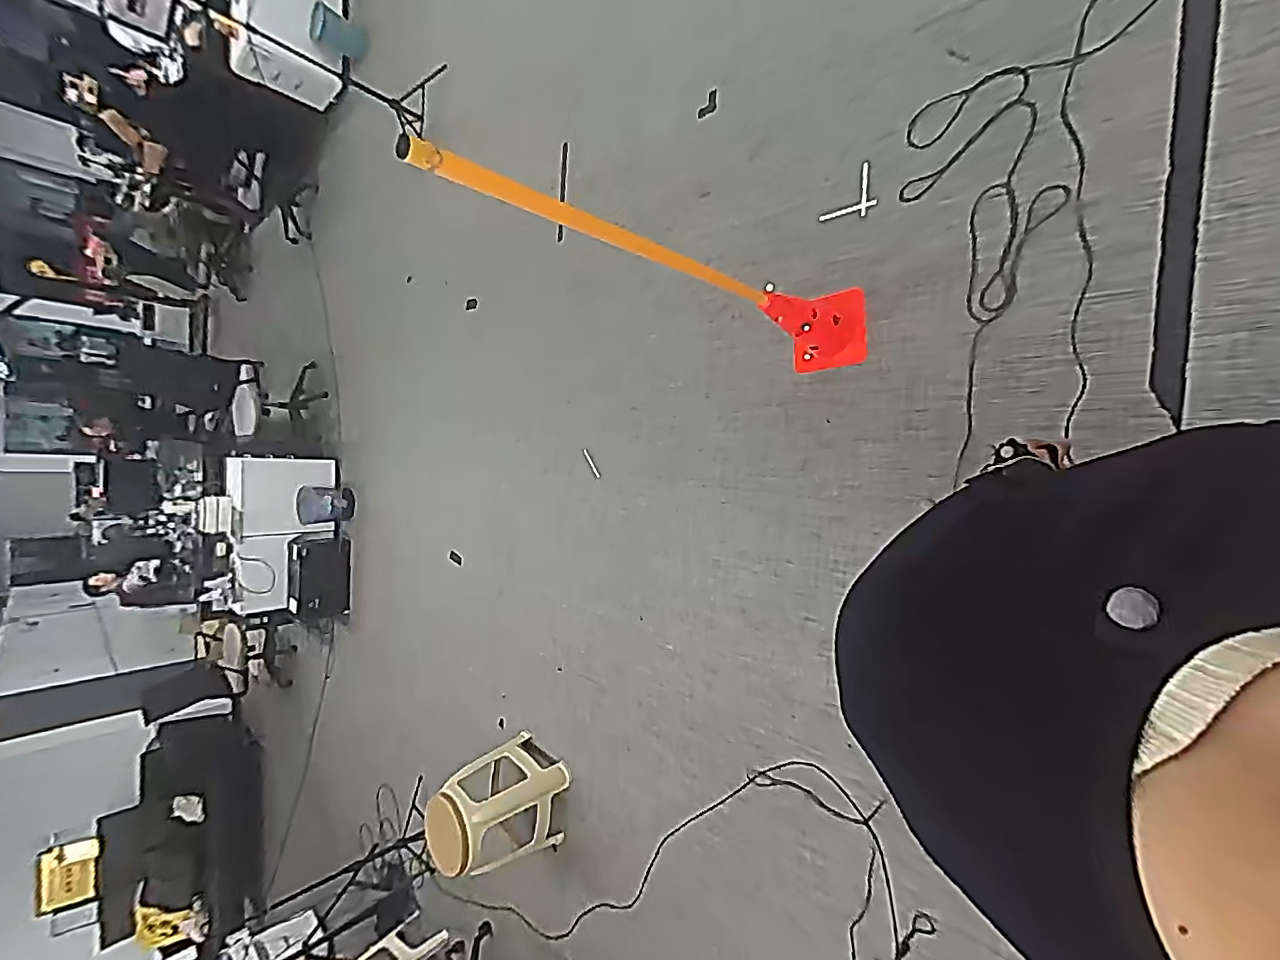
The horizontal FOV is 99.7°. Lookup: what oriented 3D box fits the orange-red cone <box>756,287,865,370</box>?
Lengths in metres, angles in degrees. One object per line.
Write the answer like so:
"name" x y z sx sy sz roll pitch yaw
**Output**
"orange-red cone" 0.391 -0.403 1.325 0.199 0.360 0.198 -2 89 41
